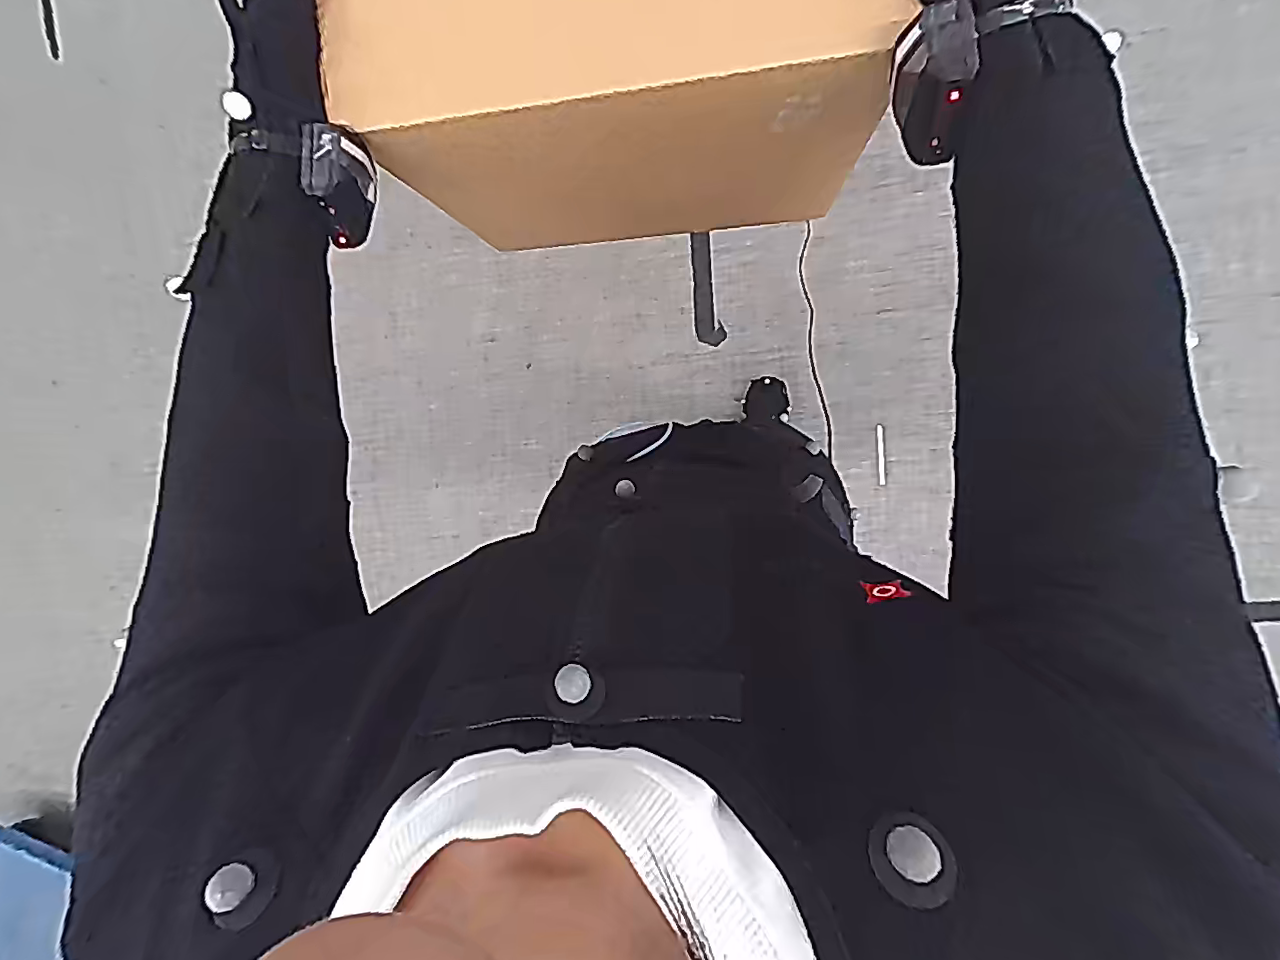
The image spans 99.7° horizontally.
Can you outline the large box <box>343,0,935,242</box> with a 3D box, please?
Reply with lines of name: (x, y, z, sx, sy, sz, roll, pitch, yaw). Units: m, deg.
large box: (-0.004, -0.443, 0.497, 0.408, 0.320, 0.320, -3, 98, 7)
